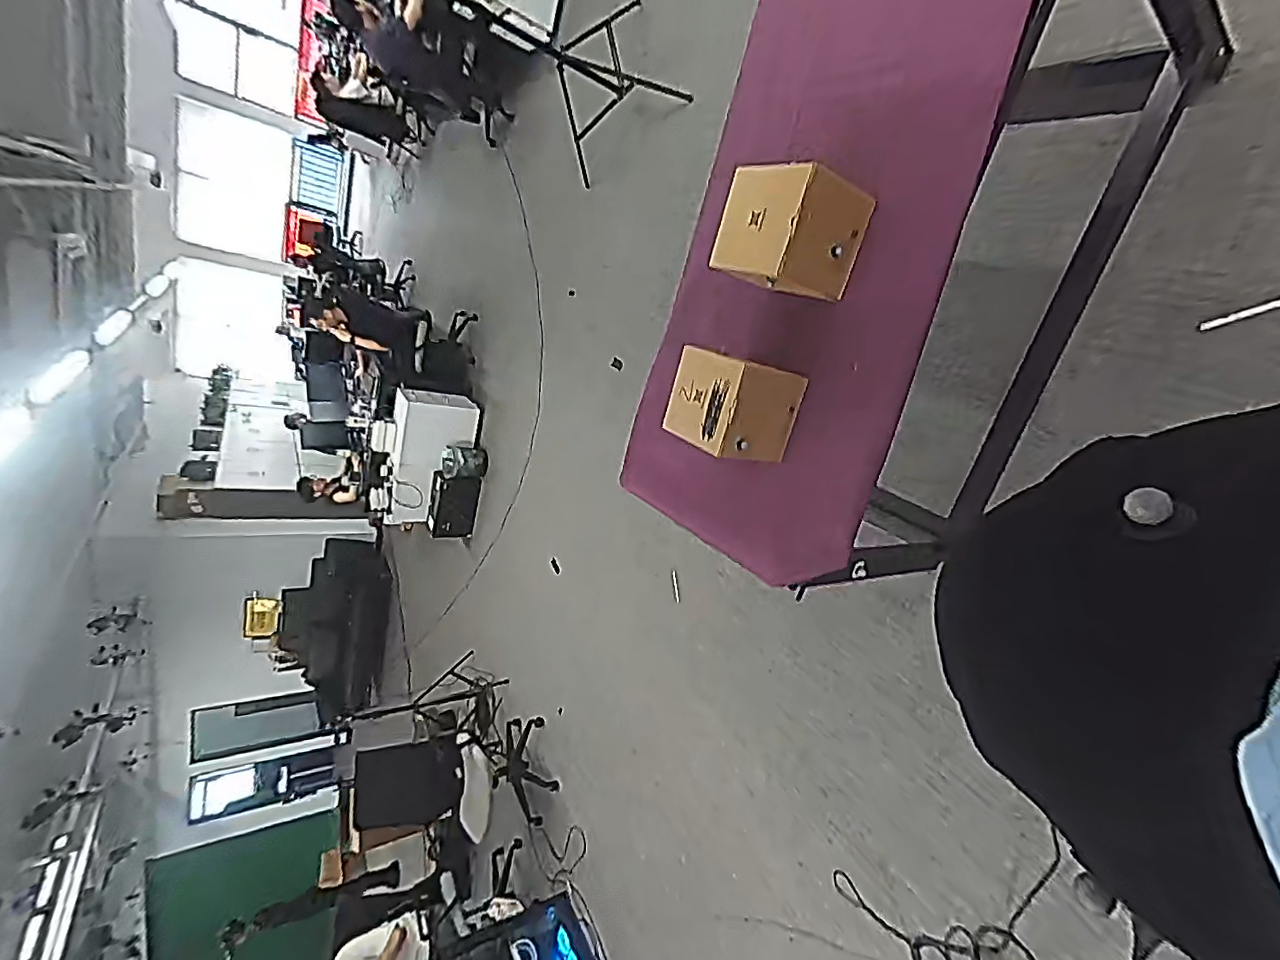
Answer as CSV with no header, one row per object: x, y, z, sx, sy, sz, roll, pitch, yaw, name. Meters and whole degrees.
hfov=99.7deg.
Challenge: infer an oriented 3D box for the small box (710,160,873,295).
0.257,-0.428,0.931,0.179,0.176,0.168,37,117,49,small box
